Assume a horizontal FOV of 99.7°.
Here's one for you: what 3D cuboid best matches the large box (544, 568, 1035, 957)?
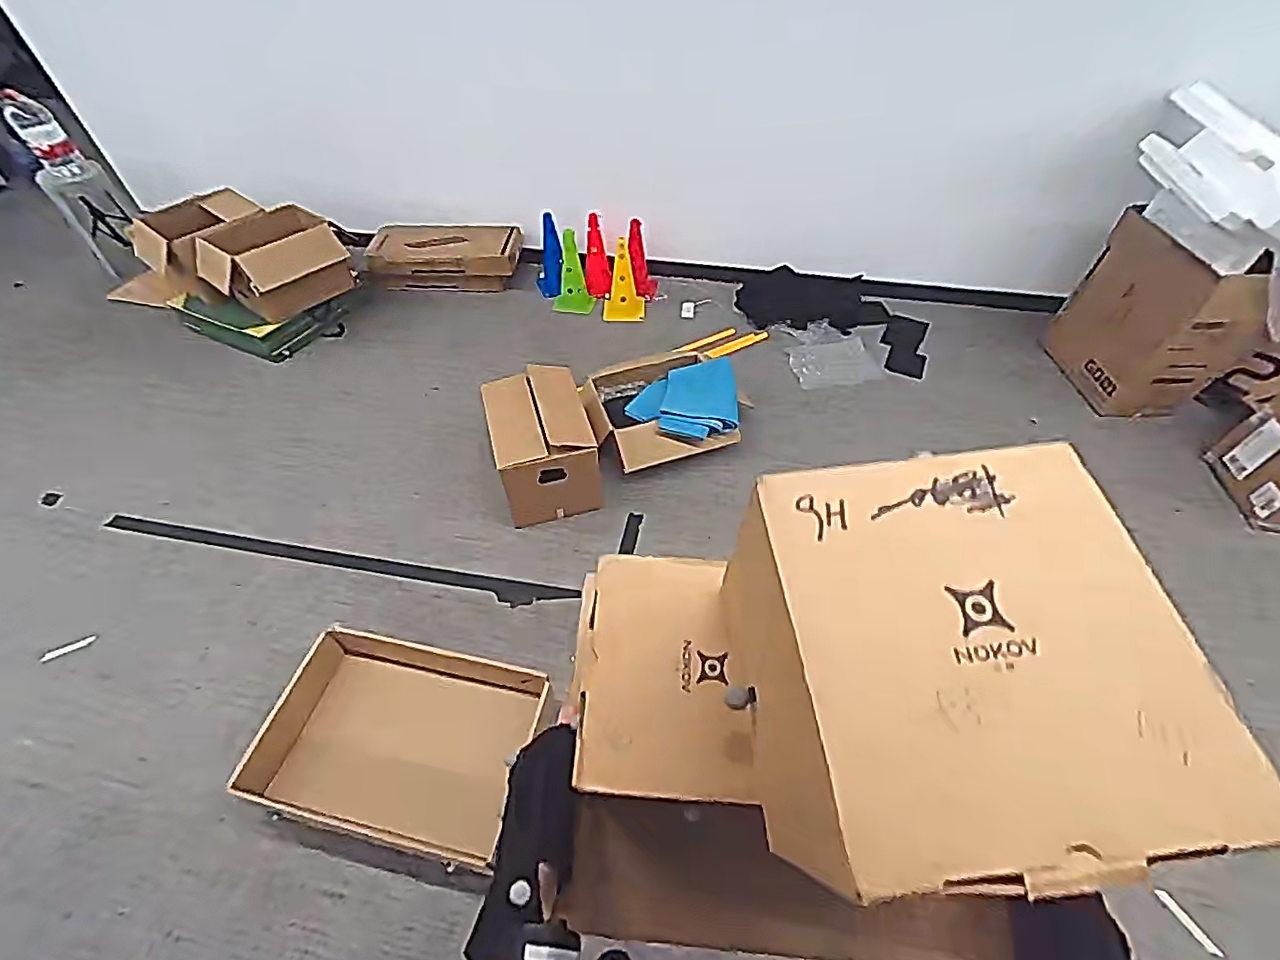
[{"bbox_3d":[0.127,0.318,0.640,0.408,0.320,0.320,4,58,3],"label":"large box"}]

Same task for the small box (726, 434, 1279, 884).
[{"bbox_3d":[0.150,0.098,0.306,0.168,0.176,0.179,-6,61,-2],"label":"small box"}]
